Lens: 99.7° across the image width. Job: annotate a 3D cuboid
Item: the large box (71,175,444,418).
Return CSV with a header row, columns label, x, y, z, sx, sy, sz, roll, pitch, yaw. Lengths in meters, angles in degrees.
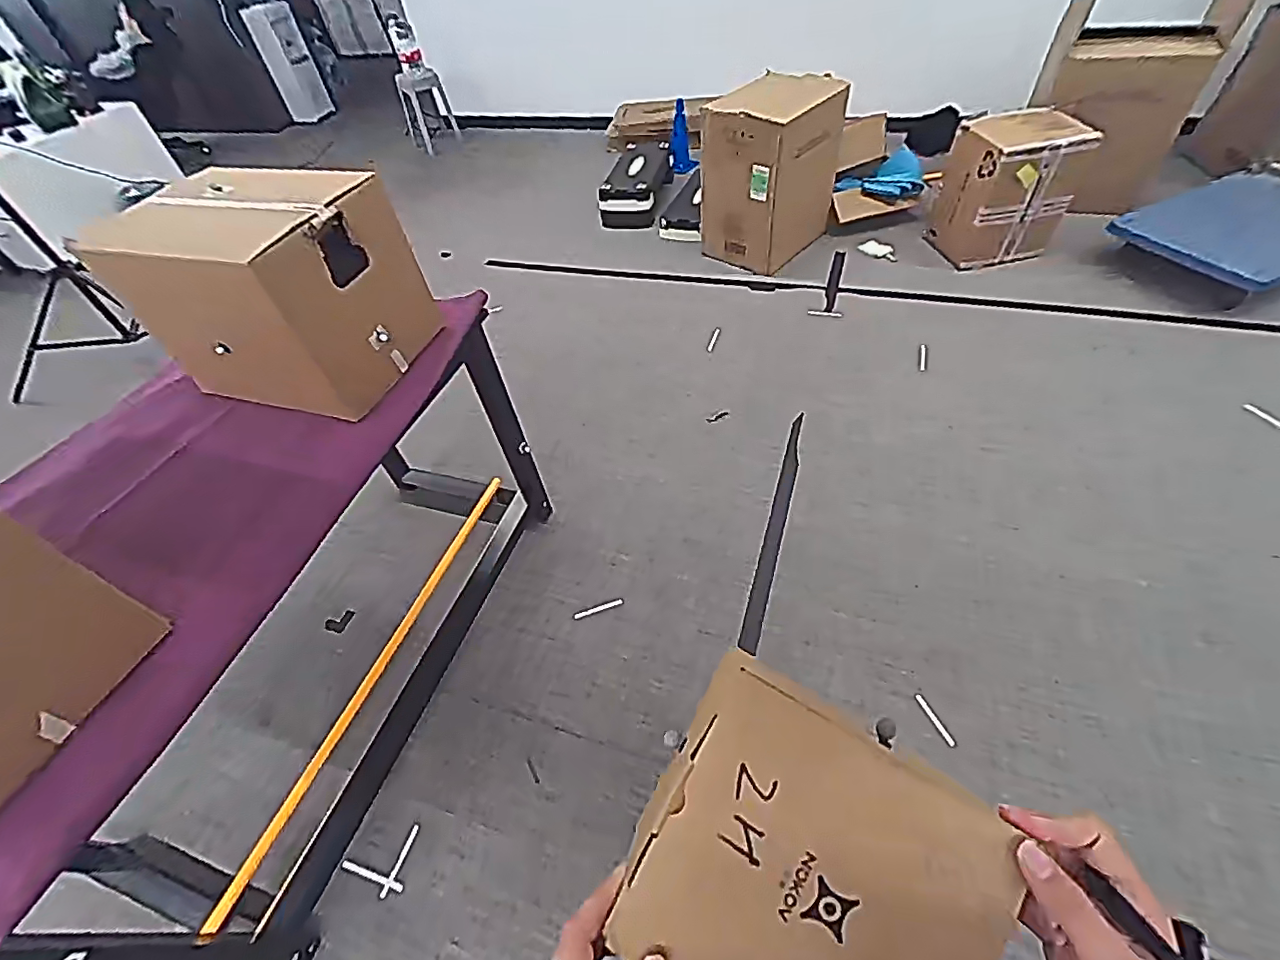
label,x,y,z,sx,sy,sz,roll,pitch,yaw
large box,-0.659,-0.345,1.008,0.408,0.320,0.320,10,51,17
